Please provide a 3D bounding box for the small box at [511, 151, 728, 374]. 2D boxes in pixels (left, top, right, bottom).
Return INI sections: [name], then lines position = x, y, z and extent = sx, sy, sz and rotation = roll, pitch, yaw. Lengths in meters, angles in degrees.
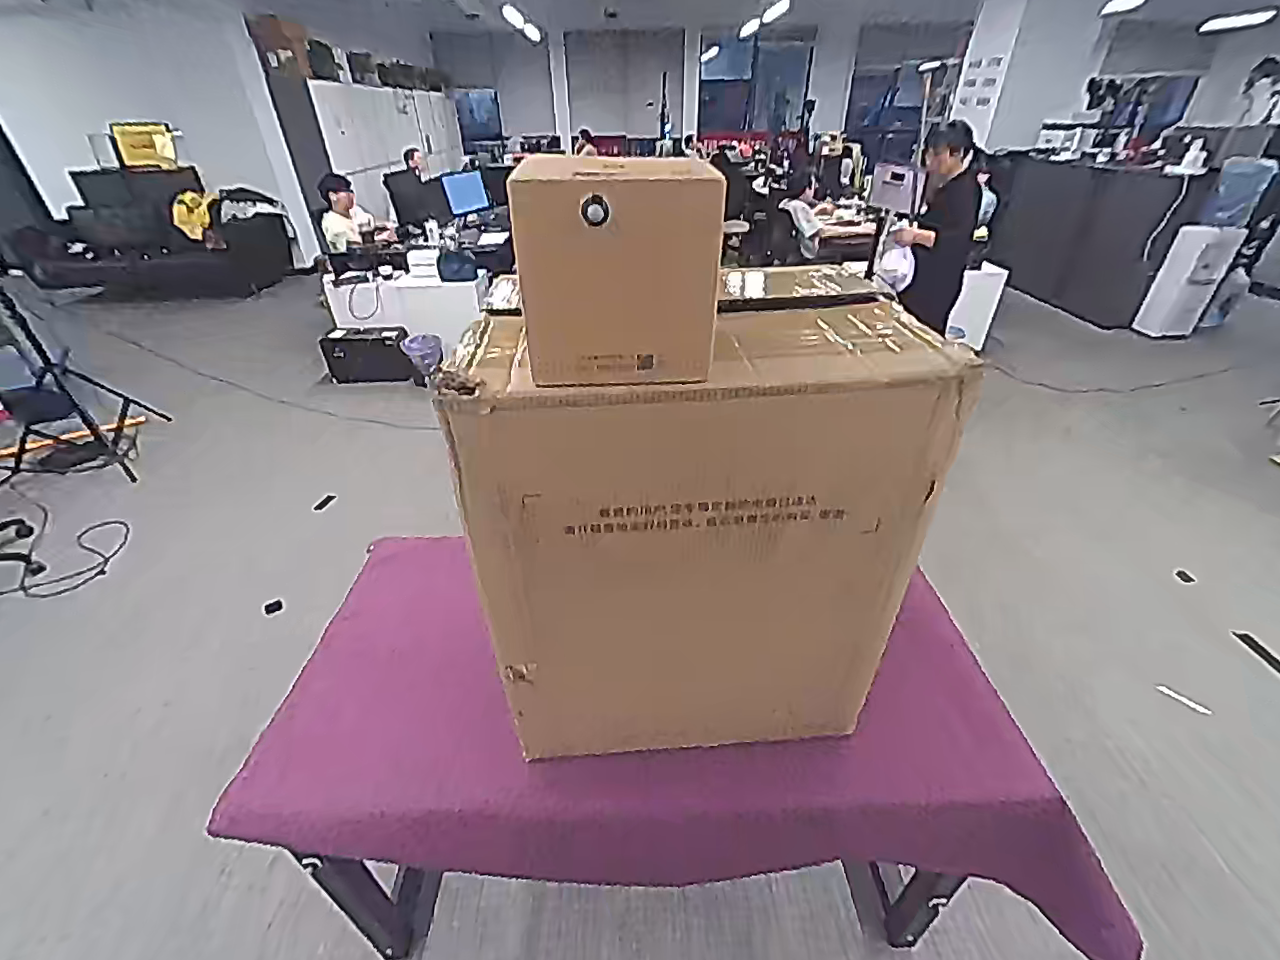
[small box]
position = -0.020, -0.210, 0.513
extent = 0.168, 0.176, 0.179
rotation = -2, 34, -3
